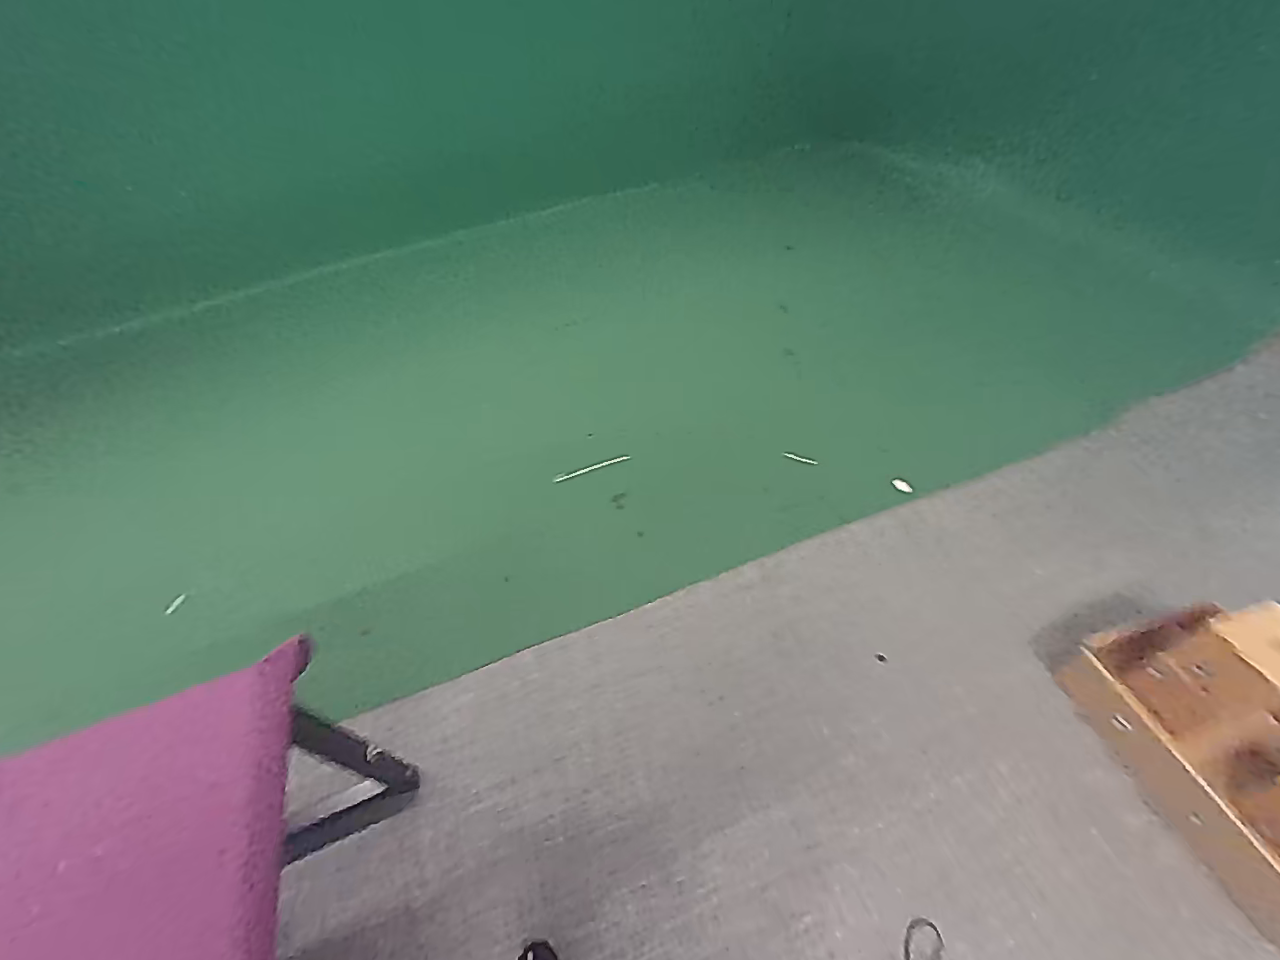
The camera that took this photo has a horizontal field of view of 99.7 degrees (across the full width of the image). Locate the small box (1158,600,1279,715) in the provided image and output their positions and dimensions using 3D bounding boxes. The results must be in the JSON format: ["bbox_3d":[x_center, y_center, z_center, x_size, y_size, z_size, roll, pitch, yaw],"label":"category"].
[{"bbox_3d":[1.336,0.397,1.202,0.179,0.176,0.168,-16,50,-6],"label":"small box"}]

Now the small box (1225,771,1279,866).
[{"bbox_3d":[1.426,0.707,1.139,0.179,0.176,0.168,-16,48,-6],"label":"small box"}]
